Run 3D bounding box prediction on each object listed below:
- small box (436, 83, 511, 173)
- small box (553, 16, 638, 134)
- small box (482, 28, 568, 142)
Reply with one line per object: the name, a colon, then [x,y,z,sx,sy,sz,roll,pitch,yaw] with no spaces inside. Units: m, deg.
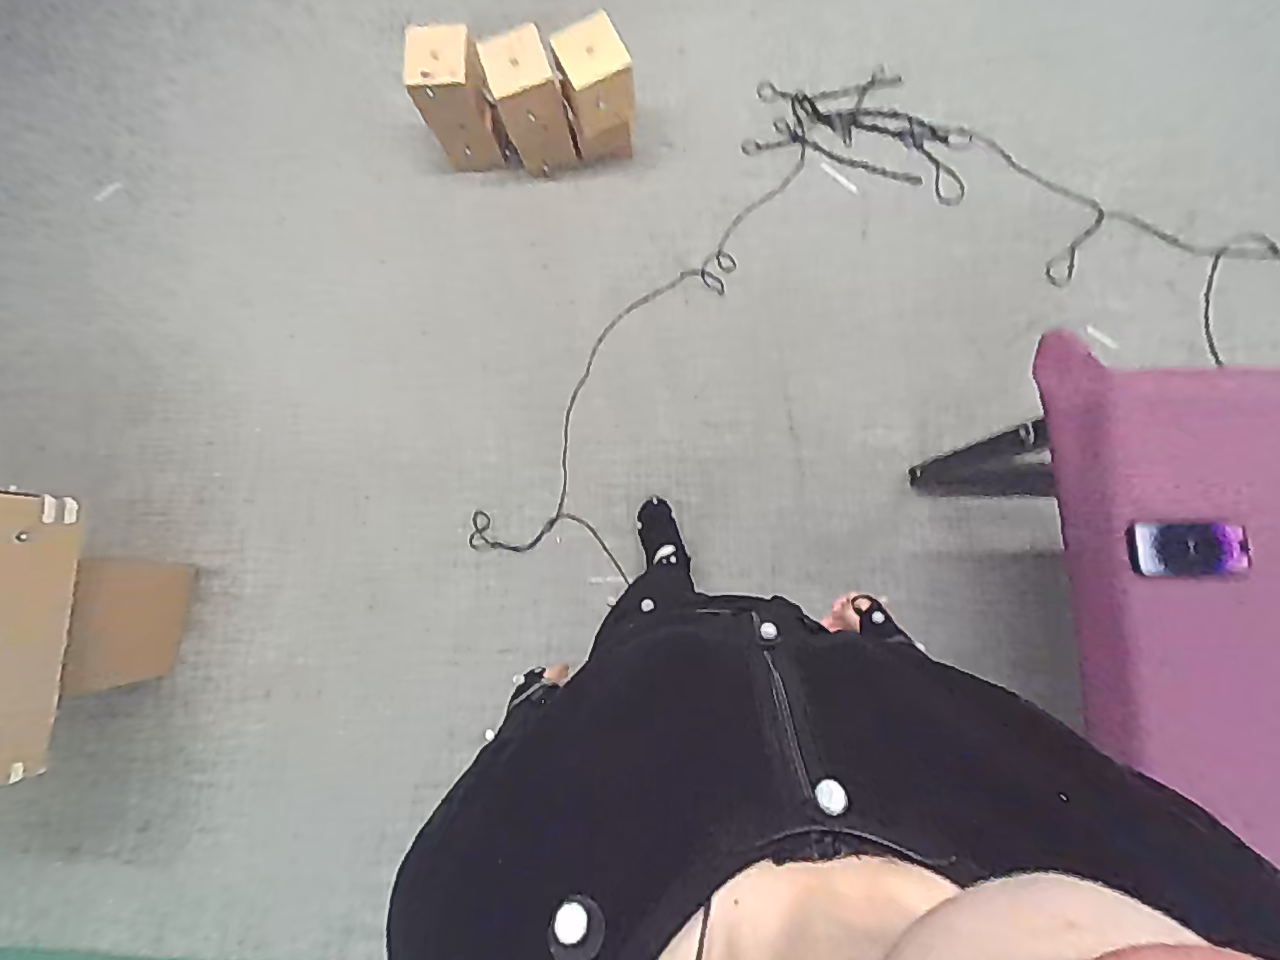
small box: [-0.505,-1.079,1.667,0.179,0.176,0.168,-1,81,5]
small box: [-0.114,-1.088,1.472,0.168,0.176,0.179,-25,79,-1]
small box: [-0.310,-1.072,1.487,0.168,0.176,0.179,-18,80,1]
